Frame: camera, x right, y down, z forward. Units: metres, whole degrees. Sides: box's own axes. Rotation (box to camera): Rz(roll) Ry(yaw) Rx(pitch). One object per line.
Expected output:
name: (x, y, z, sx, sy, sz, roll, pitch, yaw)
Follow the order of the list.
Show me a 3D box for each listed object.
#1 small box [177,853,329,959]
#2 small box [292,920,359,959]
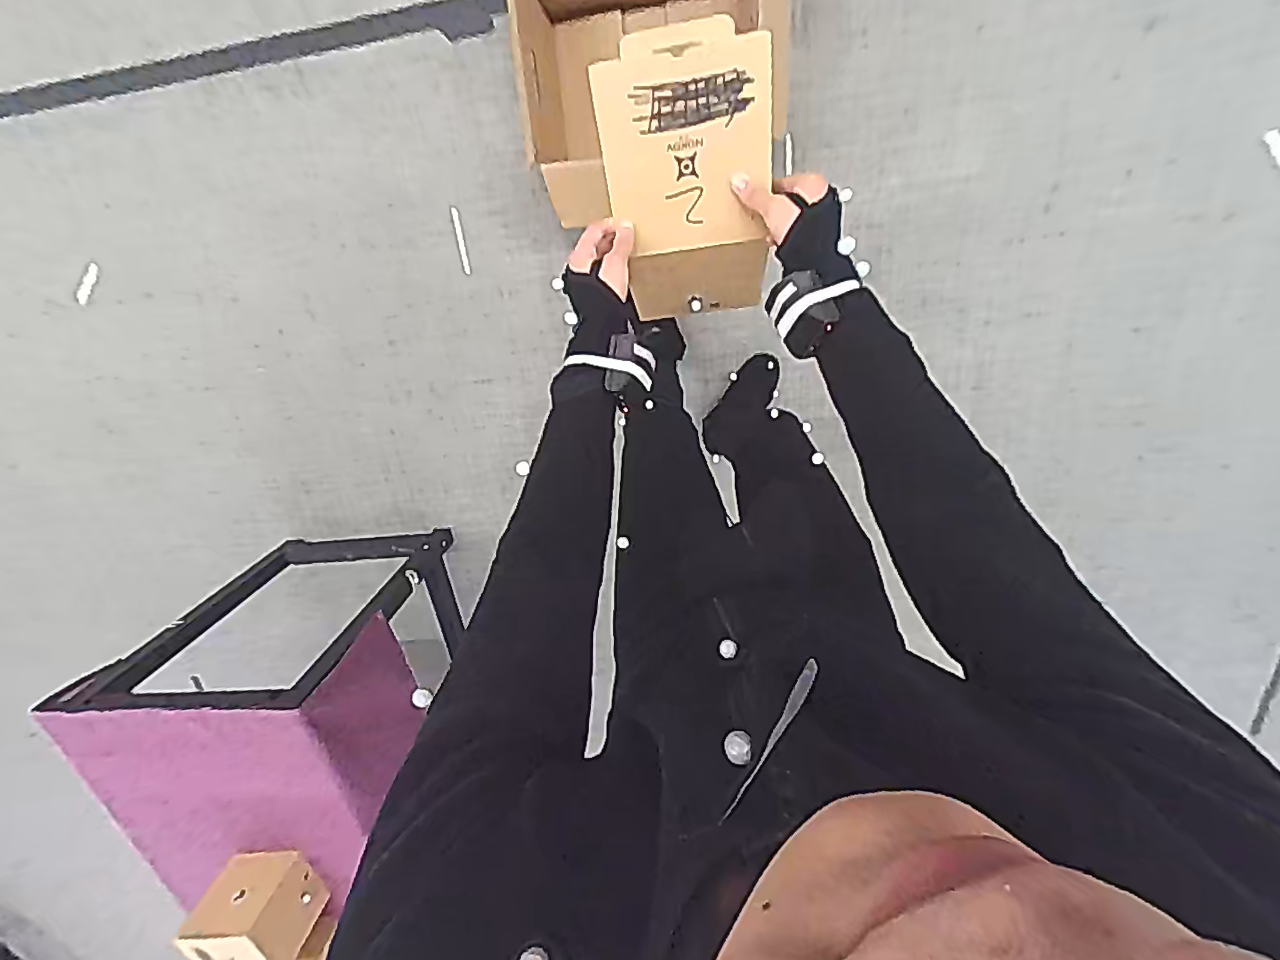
small box: (-0.832, 0.953, 1.182, 0.179, 0.176, 0.168, -10, 112, 9)
small box: (-0.795, 1.174, 1.274, 0.179, 0.176, 0.168, -6, 112, 8)
